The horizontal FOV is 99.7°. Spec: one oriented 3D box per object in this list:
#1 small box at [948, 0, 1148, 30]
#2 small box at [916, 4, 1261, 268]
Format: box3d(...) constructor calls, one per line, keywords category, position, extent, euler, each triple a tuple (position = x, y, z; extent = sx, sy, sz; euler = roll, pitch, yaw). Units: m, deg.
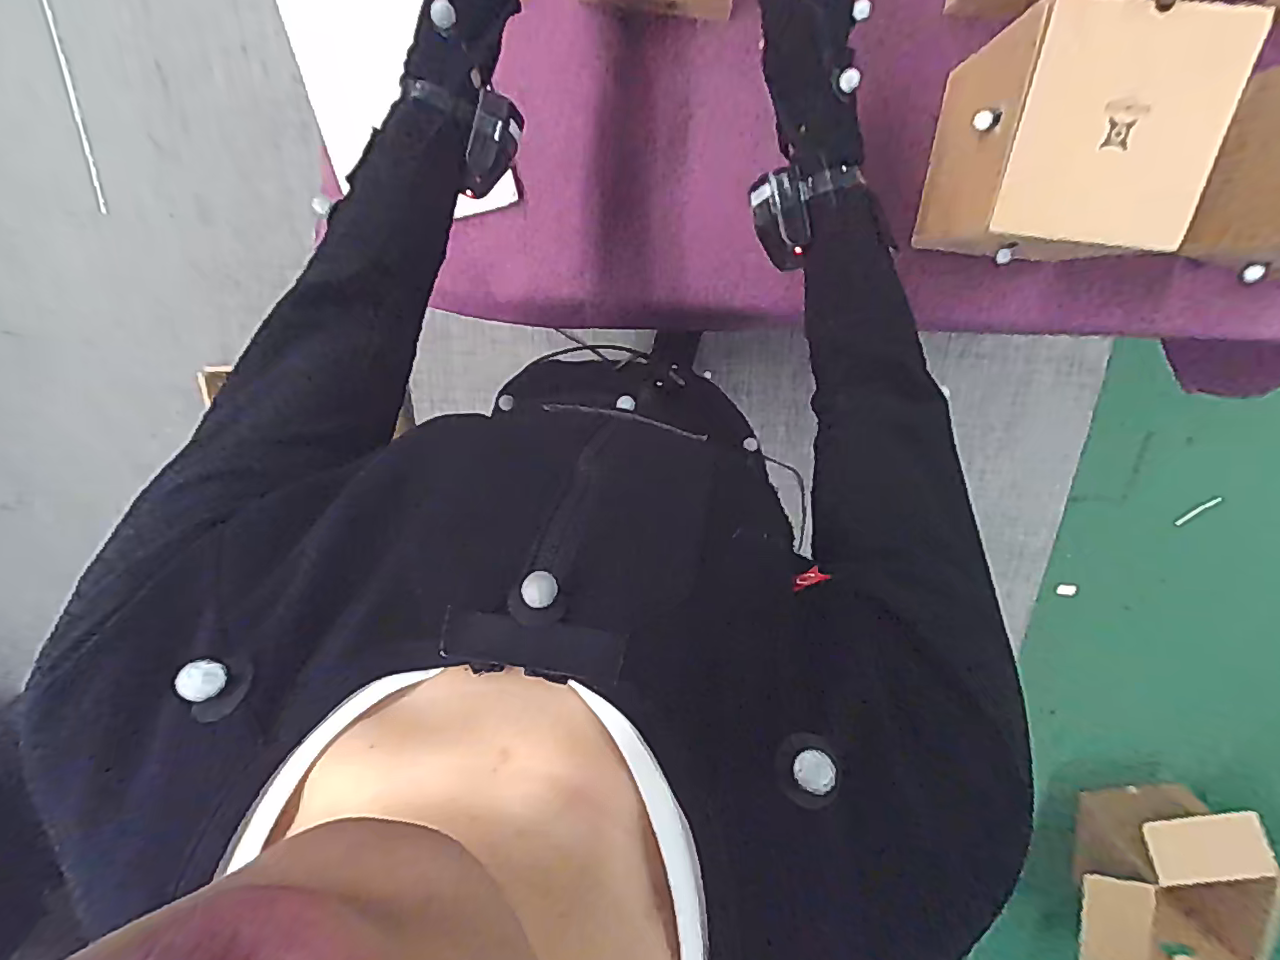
box3d(category="small box", position=(0.390, -0.518, 0.450), extent=(0.168, 0.176, 0.179), euler=(5, 109, 2))
box3d(category="small box", position=(0.396, -0.307, 0.523), extent=(0.168, 0.176, 0.179), euler=(7, 109, 1))
